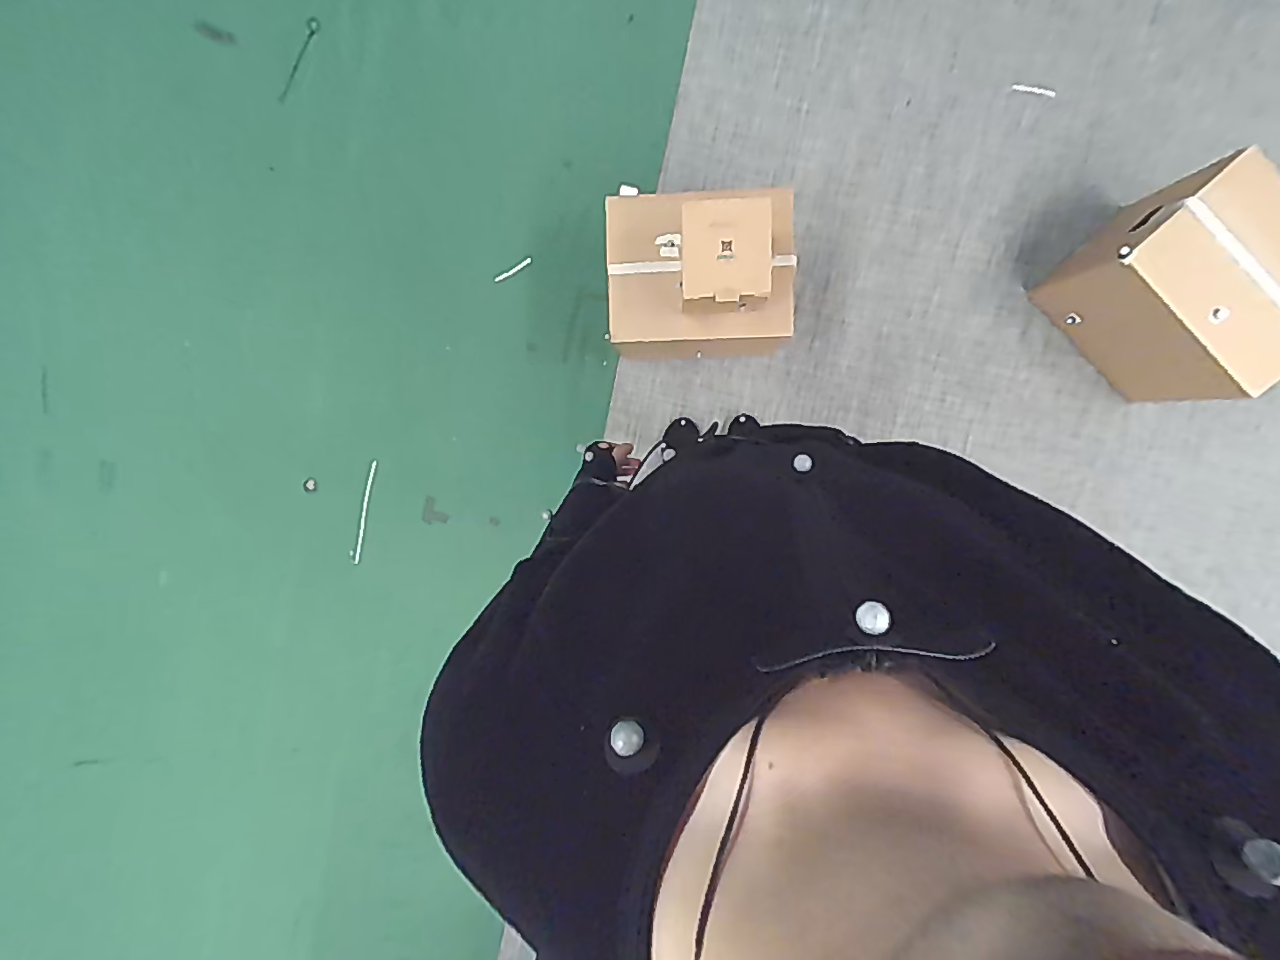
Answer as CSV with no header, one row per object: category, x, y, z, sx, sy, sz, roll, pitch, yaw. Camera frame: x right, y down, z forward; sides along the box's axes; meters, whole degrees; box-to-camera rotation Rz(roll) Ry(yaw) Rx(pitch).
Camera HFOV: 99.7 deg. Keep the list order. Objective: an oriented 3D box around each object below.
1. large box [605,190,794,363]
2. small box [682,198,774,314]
large box,0.143,-0.463,1.309,0.408,0.320,0.320,-1,94,6
small box,0.166,-0.428,1.062,0.168,0.176,0.179,-1,96,4
